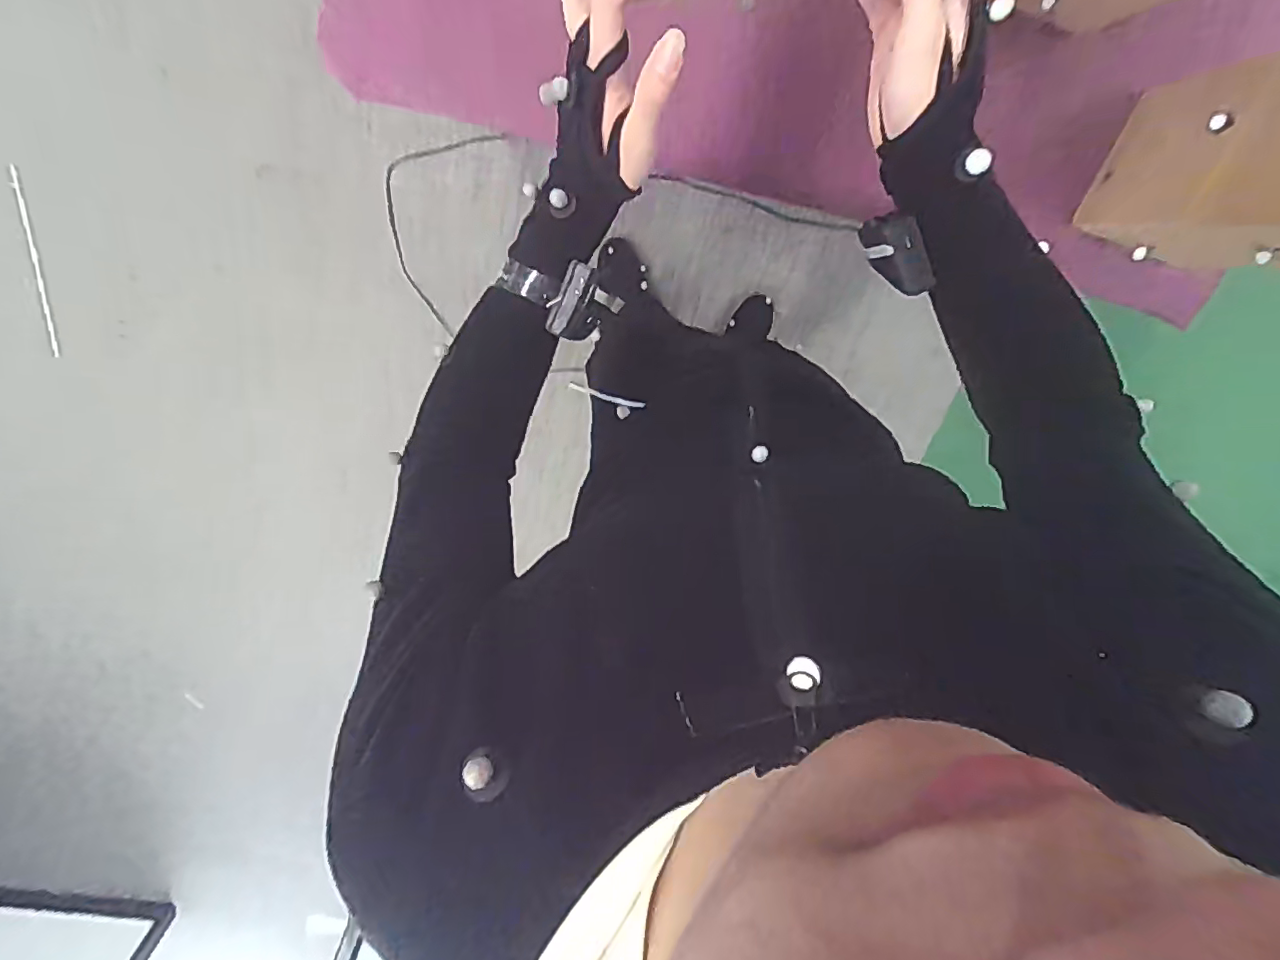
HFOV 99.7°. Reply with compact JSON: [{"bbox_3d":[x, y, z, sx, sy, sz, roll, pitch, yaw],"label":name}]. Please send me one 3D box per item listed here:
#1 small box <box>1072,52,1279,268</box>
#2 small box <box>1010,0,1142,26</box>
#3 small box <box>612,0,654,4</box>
[{"bbox_3d":[0.691,-0.370,0.647,0.179,0.176,0.168,15,113,-8],"label":"small box"},{"bbox_3d":[0.476,-0.601,0.530,0.168,0.176,0.179,15,115,-8],"label":"small box"},{"bbox_3d":[0.067,-0.402,0.318,0.179,0.176,0.168,-15,130,-8],"label":"small box"}]
